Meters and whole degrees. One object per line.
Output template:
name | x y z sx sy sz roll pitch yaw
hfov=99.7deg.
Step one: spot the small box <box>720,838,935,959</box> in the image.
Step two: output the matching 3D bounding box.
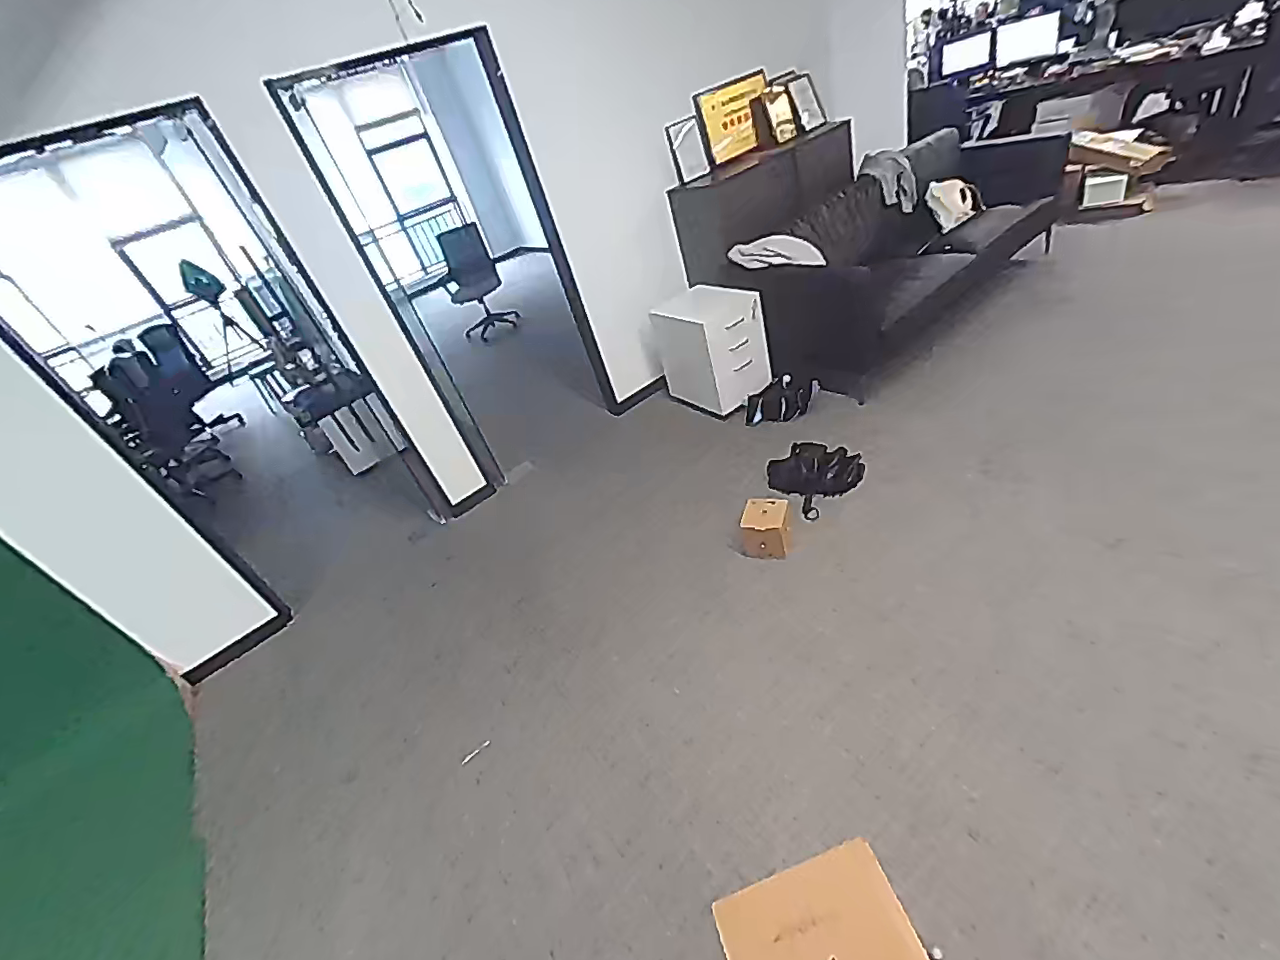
small box | 0.203 0.487 0.515 0.168 0.176 0.179 -28 40 1
